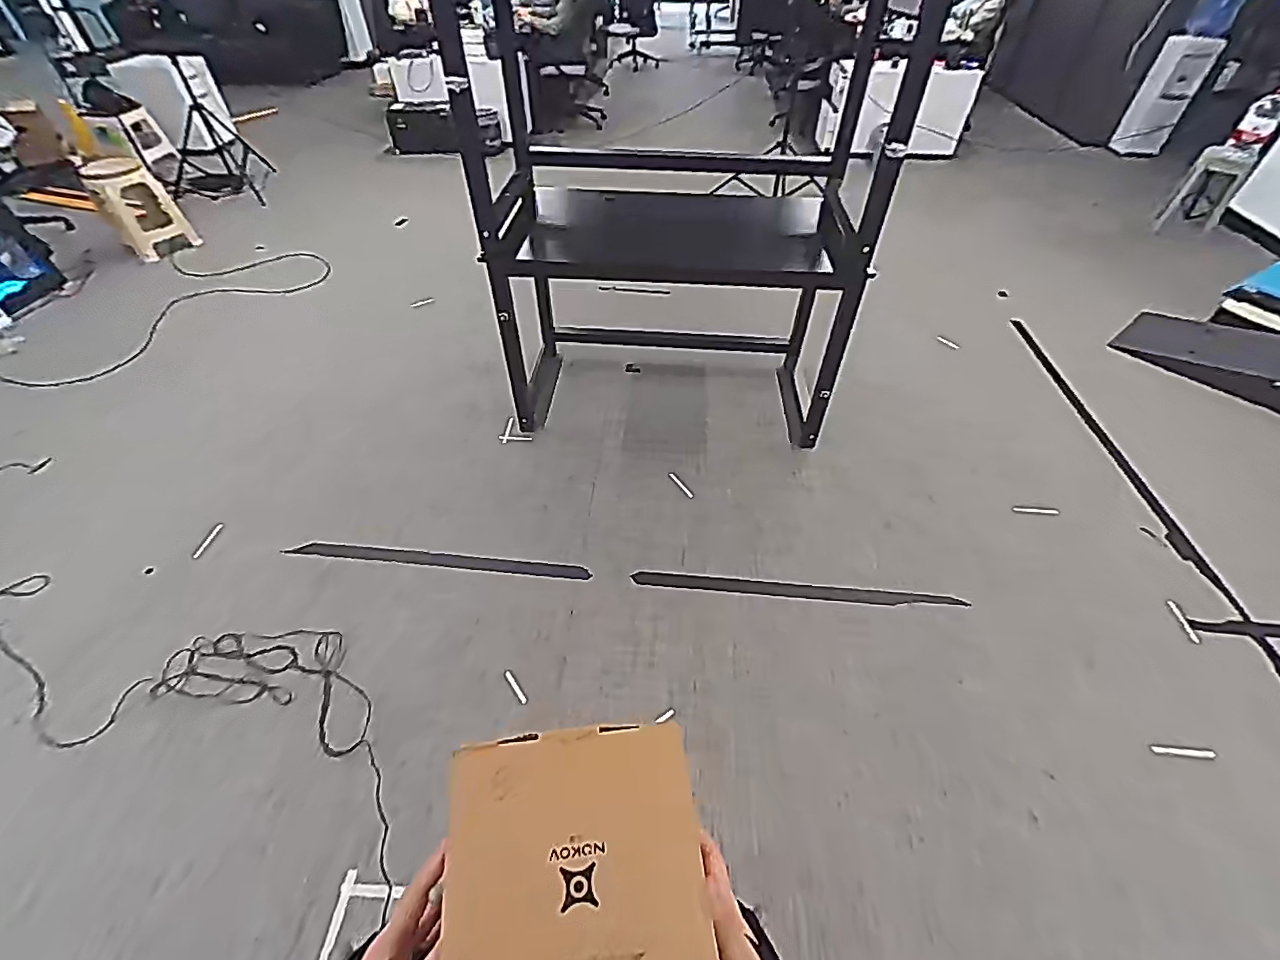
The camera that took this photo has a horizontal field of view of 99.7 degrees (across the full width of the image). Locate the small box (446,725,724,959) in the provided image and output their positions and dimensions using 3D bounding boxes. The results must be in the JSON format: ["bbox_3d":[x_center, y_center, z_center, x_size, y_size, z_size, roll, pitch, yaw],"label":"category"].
[{"bbox_3d":[-0.047,0.303,0.402,0.168,0.176,0.179,-2,53,-11],"label":"small box"}]
